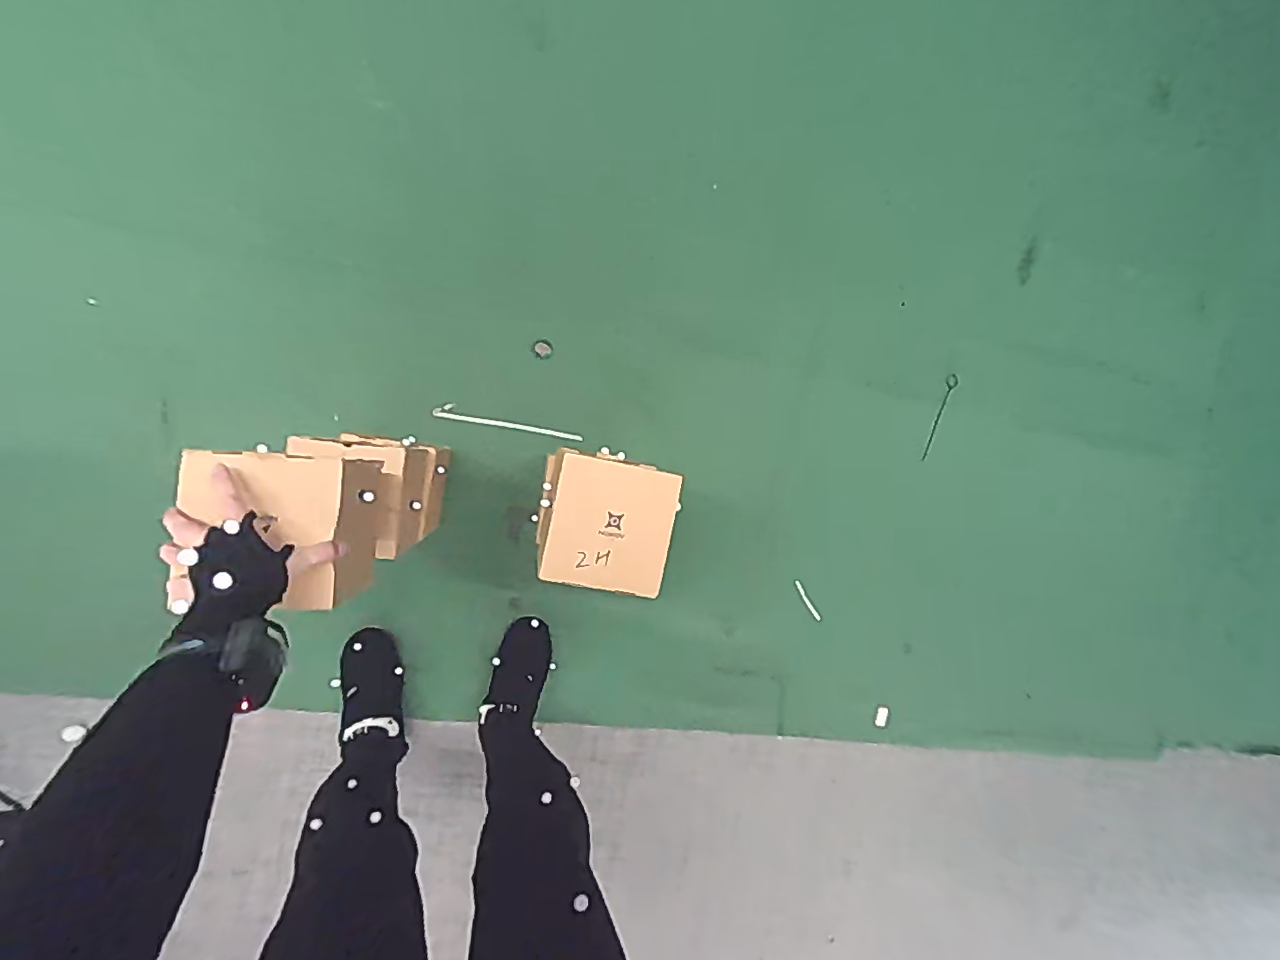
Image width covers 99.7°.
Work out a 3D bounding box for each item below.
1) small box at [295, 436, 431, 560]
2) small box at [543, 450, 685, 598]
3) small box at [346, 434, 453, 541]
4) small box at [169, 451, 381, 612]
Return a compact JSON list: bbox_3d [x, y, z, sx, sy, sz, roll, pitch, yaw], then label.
[{"bbox_3d":[-0.454,0.025,0.896,0.168,0.176,0.179,6,92,-10],"label":"small box"},{"bbox_3d":[-0.048,0.056,0.801,0.168,0.176,0.179,12,92,-11],"label":"small box"},{"bbox_3d":[-0.473,0.011,1.059,0.168,0.176,0.179,9,91,-10],"label":"small box"},{"bbox_3d":[-0.436,0.062,0.678,0.168,0.176,0.179,3,87,-10],"label":"small box"}]
